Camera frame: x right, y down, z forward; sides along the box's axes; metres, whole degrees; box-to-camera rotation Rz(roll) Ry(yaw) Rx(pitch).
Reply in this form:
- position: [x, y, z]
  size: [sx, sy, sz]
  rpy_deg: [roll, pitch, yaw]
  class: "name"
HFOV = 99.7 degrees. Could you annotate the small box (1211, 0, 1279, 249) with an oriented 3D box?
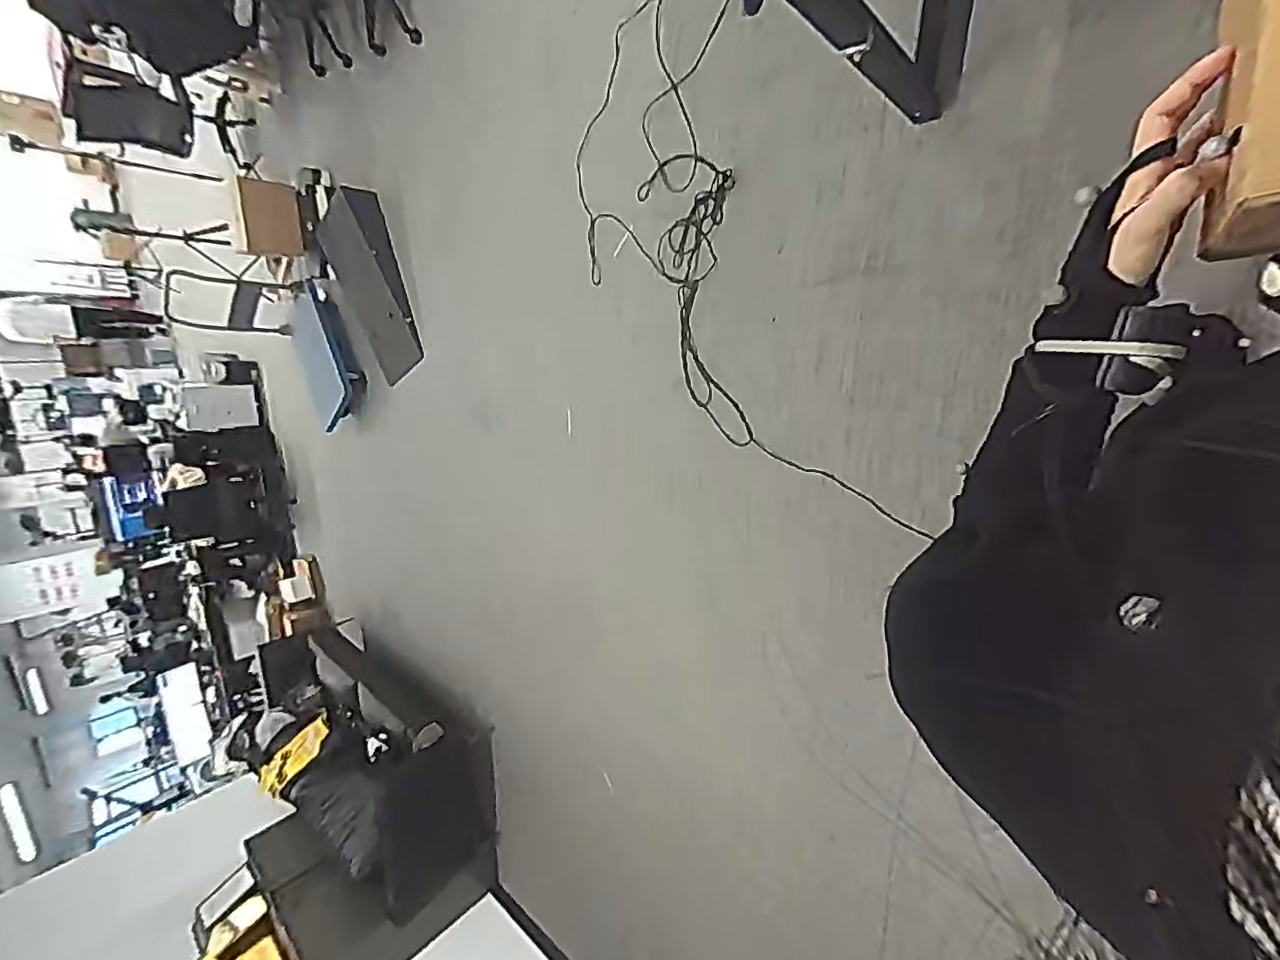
- position: [0.428, -0.239, 0.277]
  size: [0.168, 0.176, 0.179]
  rpy_deg: [3, 100, 40]
  class: "small box"
